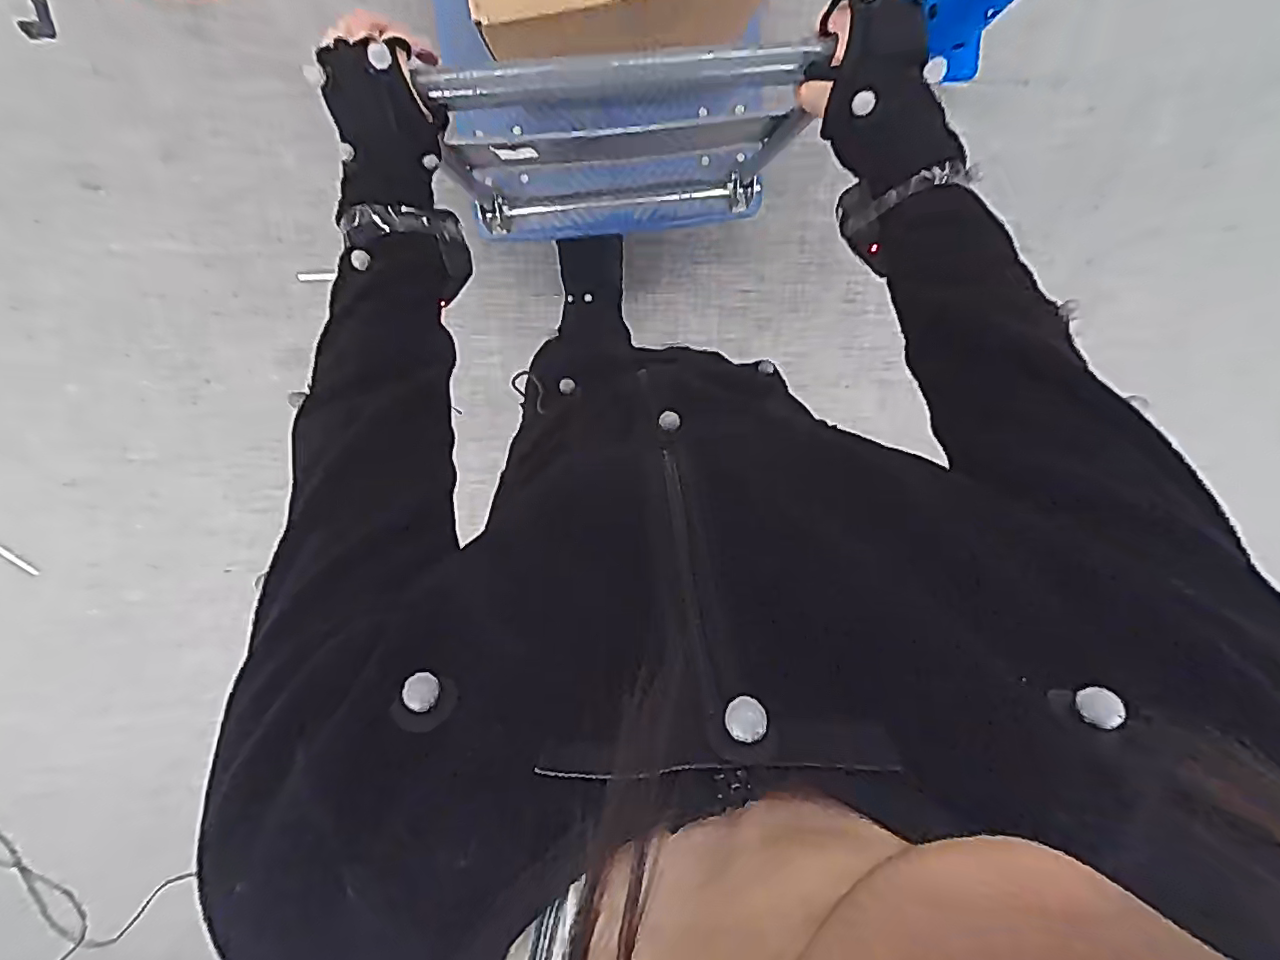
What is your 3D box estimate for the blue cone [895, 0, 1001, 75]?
[{"bbox_3d":[0.636,-0.906,0.975,0.193,0.380,0.192,-5,110,-2],"label":"blue cone"}]
